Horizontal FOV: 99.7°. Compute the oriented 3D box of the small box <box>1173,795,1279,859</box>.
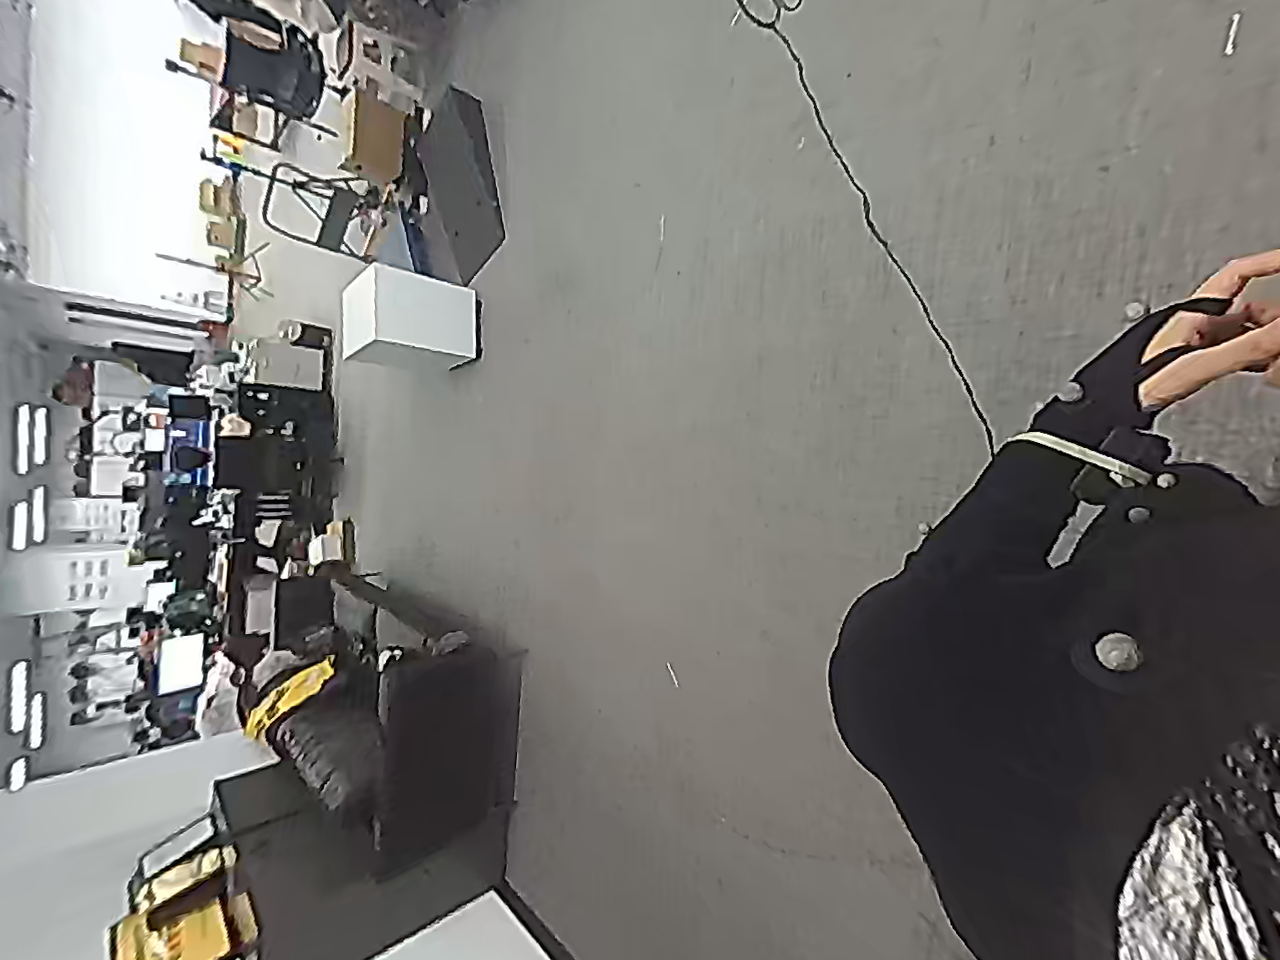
[{"bbox_3d":[1.099,0.710,0.988,0.179,0.176,0.168,2,91,45],"label":"small box"}]

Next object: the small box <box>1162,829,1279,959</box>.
[{"bbox_3d":[0.976,0.709,0.877,0.179,0.176,0.168,2,92,45],"label":"small box"}]
